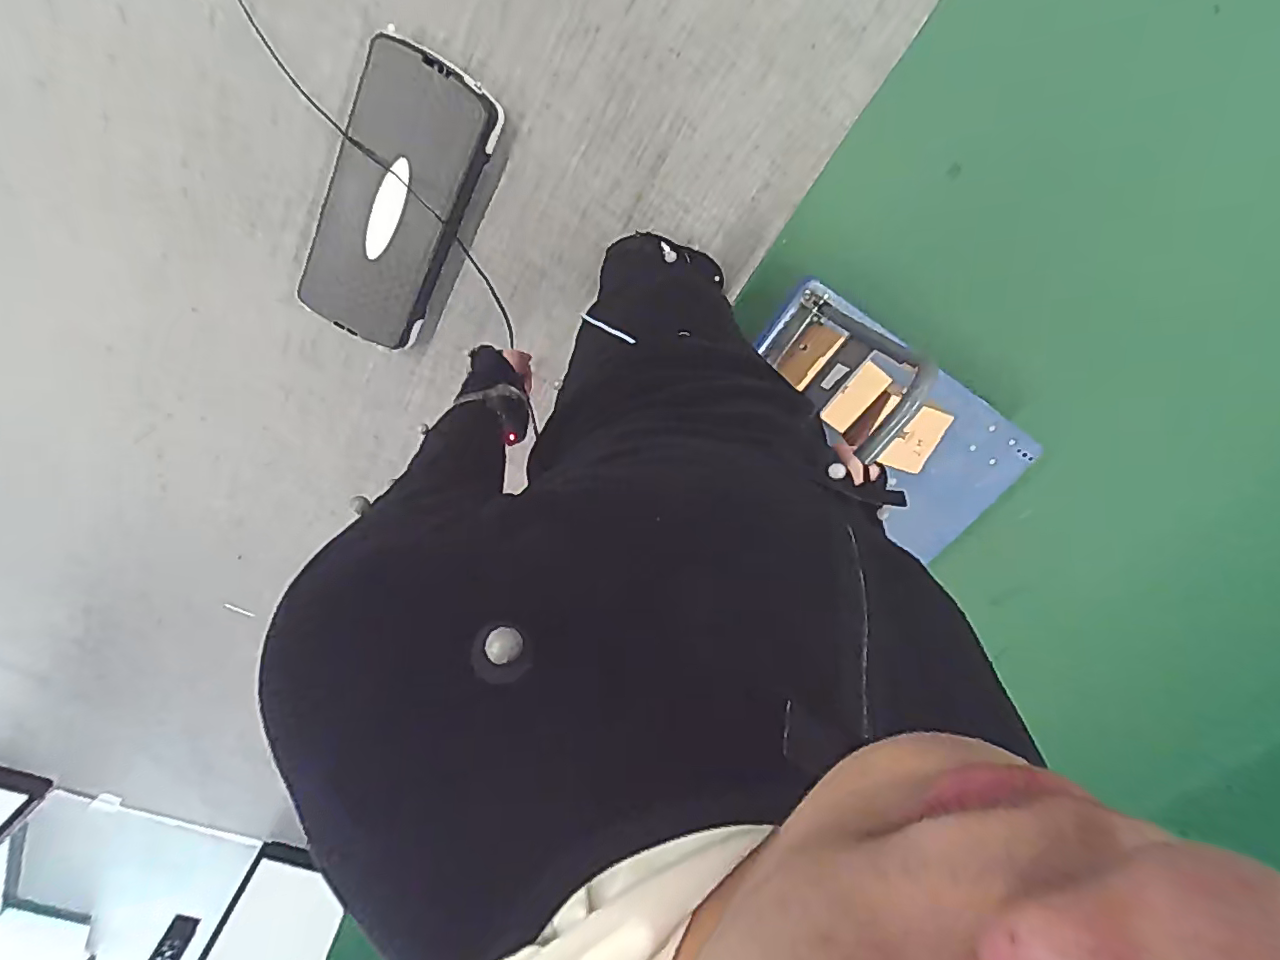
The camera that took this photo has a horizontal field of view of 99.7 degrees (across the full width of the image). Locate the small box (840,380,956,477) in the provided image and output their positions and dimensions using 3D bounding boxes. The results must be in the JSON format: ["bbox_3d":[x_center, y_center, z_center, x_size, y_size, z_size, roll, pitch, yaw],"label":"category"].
[{"bbox_3d":[0.636,-0.136,1.362,0.179,0.176,0.168,17,117,-10],"label":"small box"}]
